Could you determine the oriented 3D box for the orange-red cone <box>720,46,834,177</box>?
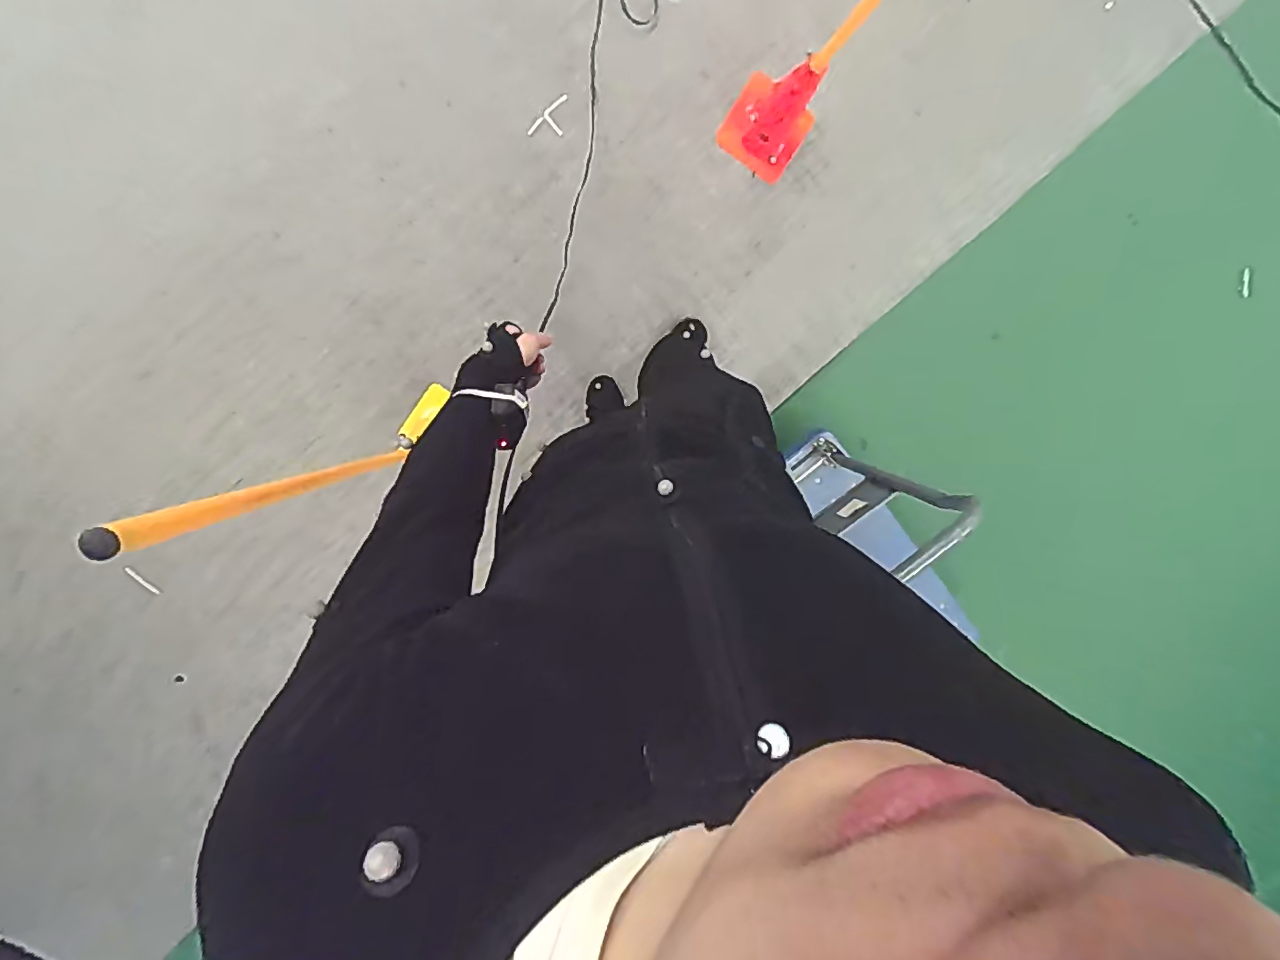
[{"bbox_3d":[0.347,-0.884,1.238,0.198,0.360,0.199,32,98,-13],"label":"orange-red cone"}]
